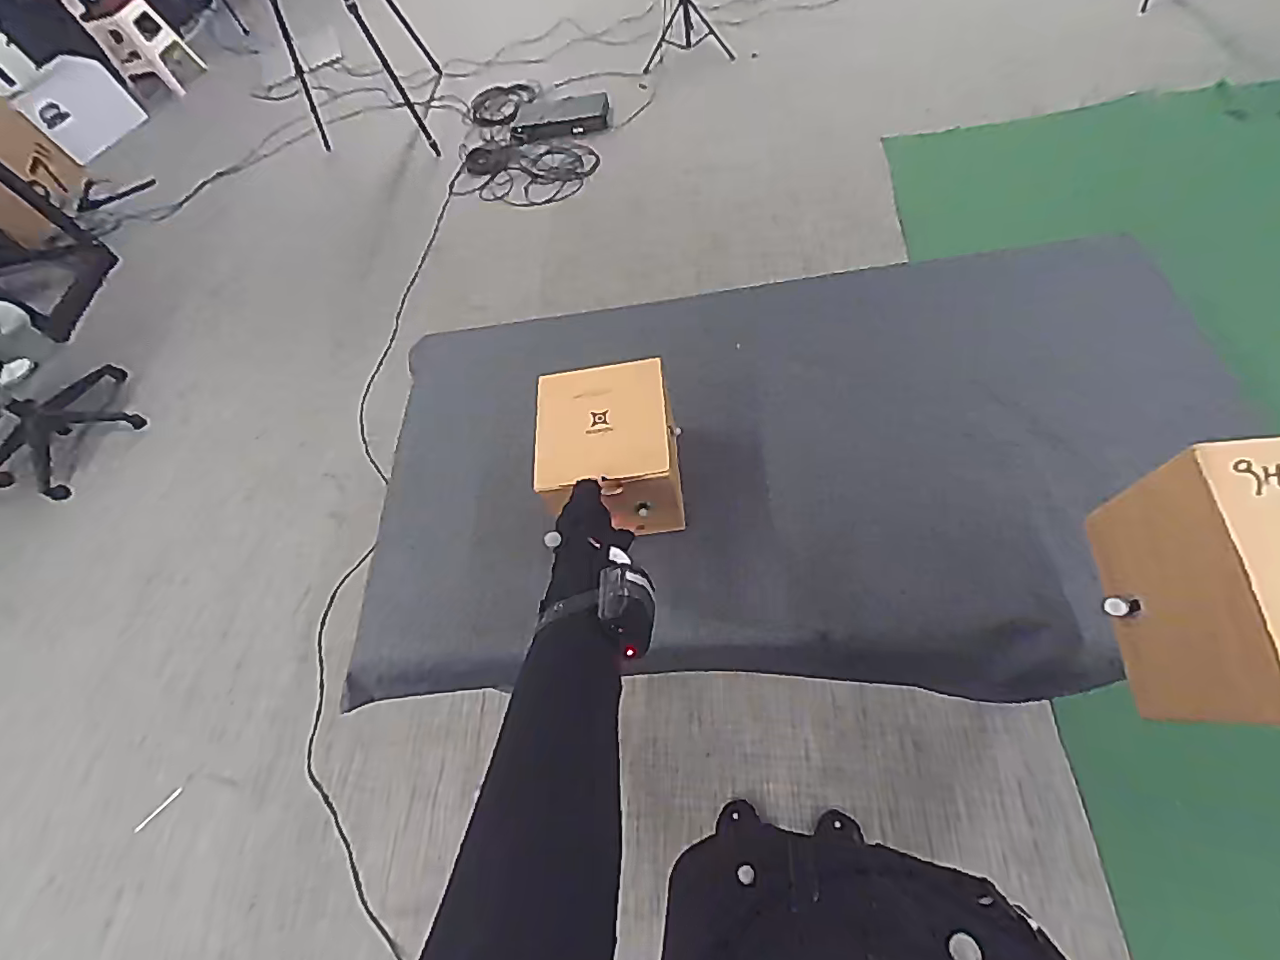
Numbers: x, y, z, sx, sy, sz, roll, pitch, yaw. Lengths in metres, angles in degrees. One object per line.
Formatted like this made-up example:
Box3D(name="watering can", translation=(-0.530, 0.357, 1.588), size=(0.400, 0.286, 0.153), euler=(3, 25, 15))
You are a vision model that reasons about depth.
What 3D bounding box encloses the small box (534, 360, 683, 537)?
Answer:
Box3D(name="small box", translation=(-0.036, -0.032, 0.735), size=(0.168, 0.176, 0.179), euler=(-7, 59, 6))
